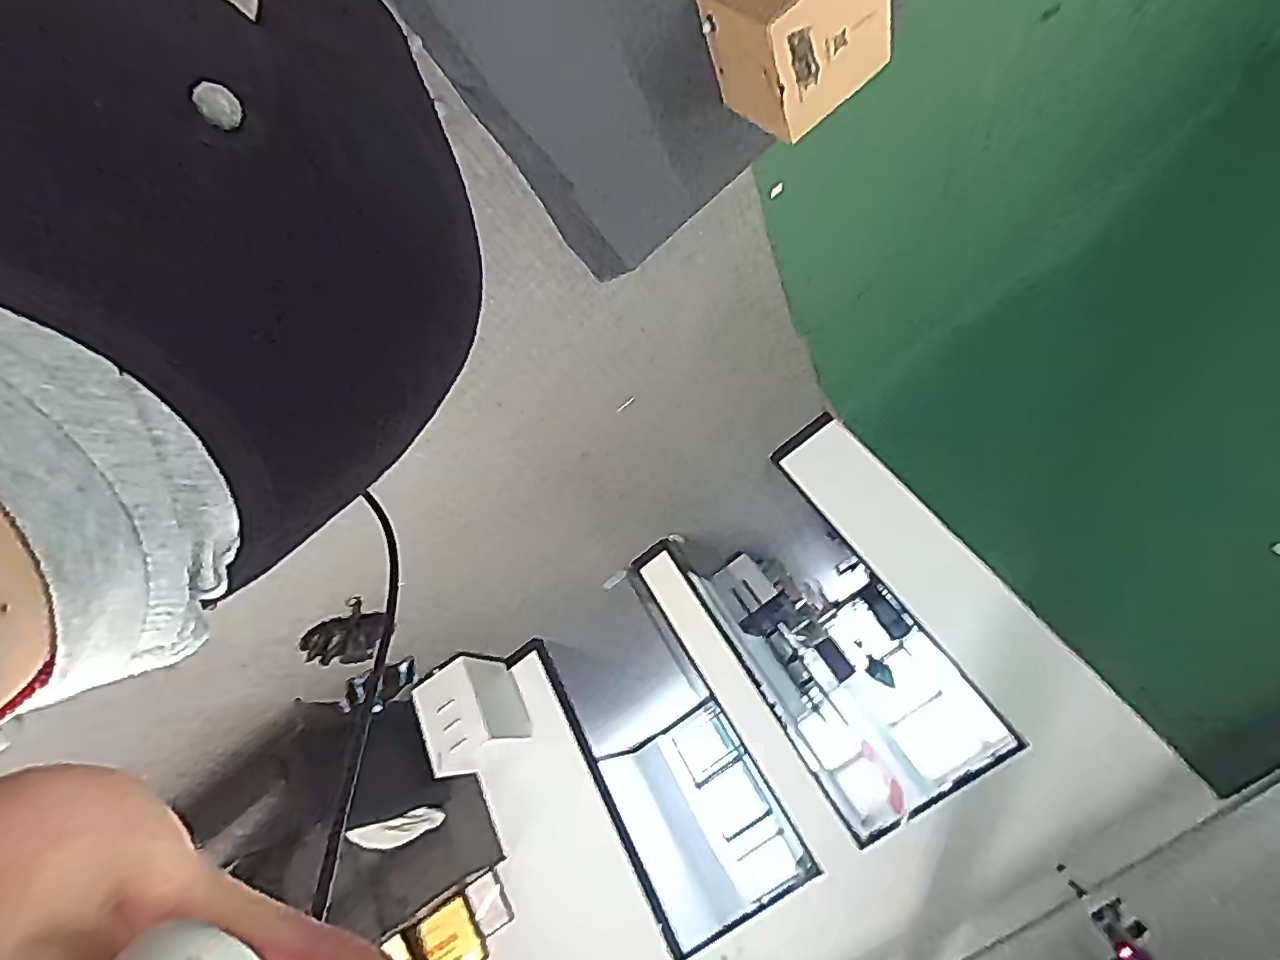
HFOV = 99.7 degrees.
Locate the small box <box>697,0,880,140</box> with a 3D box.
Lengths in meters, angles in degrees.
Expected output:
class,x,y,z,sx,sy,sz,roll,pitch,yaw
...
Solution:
class,x,y,z,sx,sy,sz,roll,pitch,yaw
small box,0.197,-0.621,0.736,0.179,0.176,0.168,-39,151,7
